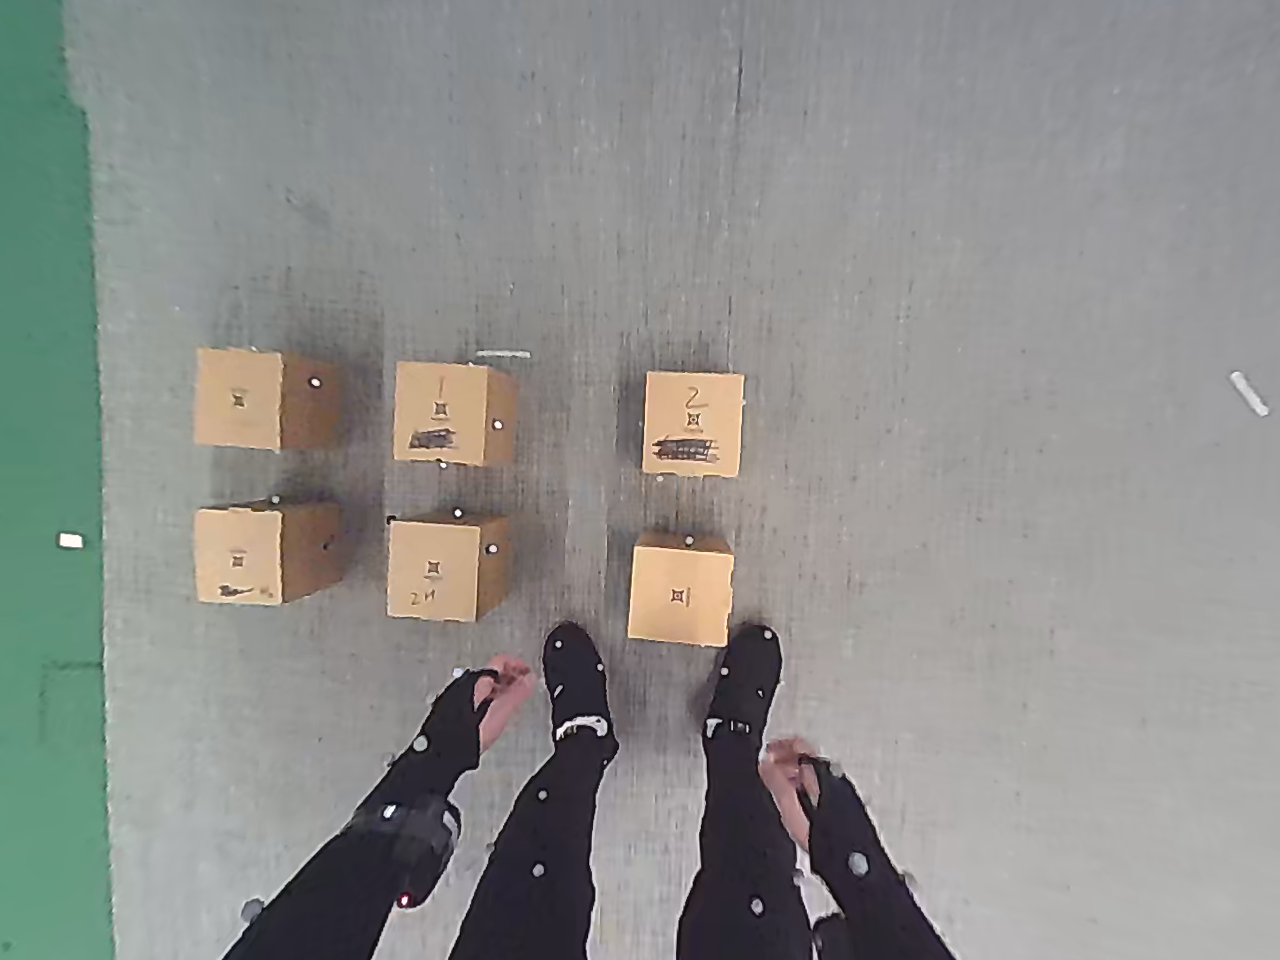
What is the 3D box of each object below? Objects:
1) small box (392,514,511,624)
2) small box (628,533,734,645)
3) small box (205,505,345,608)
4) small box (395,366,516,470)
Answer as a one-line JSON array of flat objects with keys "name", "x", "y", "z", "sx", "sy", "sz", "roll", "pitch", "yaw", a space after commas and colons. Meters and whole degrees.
[{"name": "small box", "x": -0.356, "y": 0.162, "z": 1.045, "sx": 0.168, "sy": 0.176, "sz": 0.179, "roll": 3, "pitch": 94, "yaw": 5}, {"name": "small box", "x": 0.076, "y": 0.196, "z": 1.015, "sx": 0.179, "sy": 0.176, "sz": 0.168, "roll": 4, "pitch": 93, "yaw": 3}, {"name": "small box", "x": -0.713, "y": 0.144, "z": 1.072, "sx": 0.168, "sy": 0.176, "sz": 0.179, "roll": 2, "pitch": 92, "yaw": 5}, {"name": "small box", "x": -0.342, "y": -0.115, "z": 1.028, "sx": 0.168, "sy": 0.176, "sz": 0.179, "roll": 4, "pitch": 93, "yaw": 4}]
